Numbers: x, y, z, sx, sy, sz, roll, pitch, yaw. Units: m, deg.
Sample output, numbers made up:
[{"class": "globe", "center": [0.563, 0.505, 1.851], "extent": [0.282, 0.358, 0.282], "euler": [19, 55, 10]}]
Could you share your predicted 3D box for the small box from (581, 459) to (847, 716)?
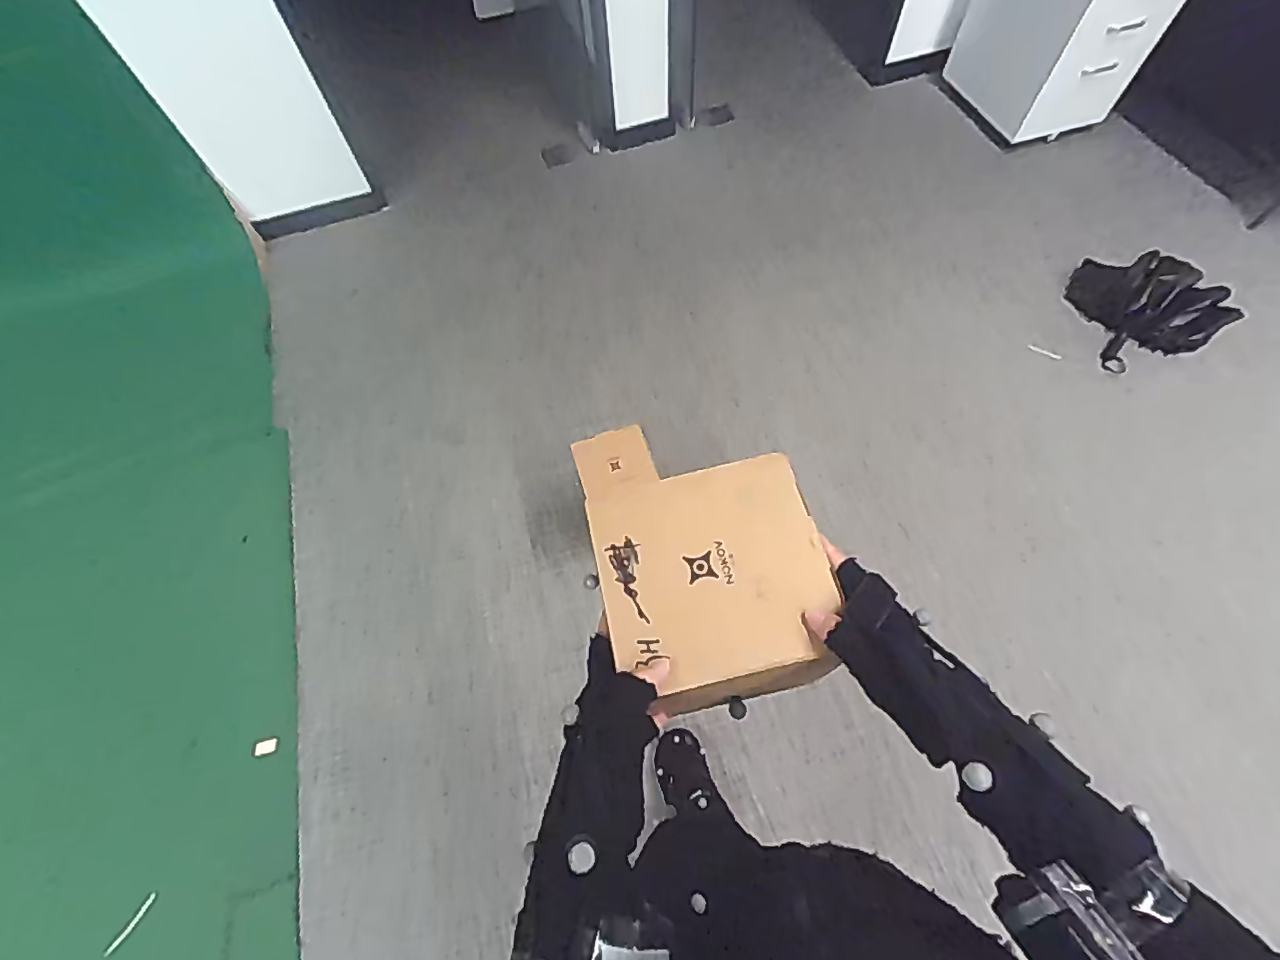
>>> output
[{"class": "small box", "center": [0.055, 0.105, 0.486], "extent": [0.179, 0.176, 0.168], "euler": [-12, 61, 0]}]

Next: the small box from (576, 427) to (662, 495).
[{"class": "small box", "center": [-0.041, 0.008, 1.269], "extent": [0.168, 0.176, 0.179], "euler": [-18, 65, -4]}]
